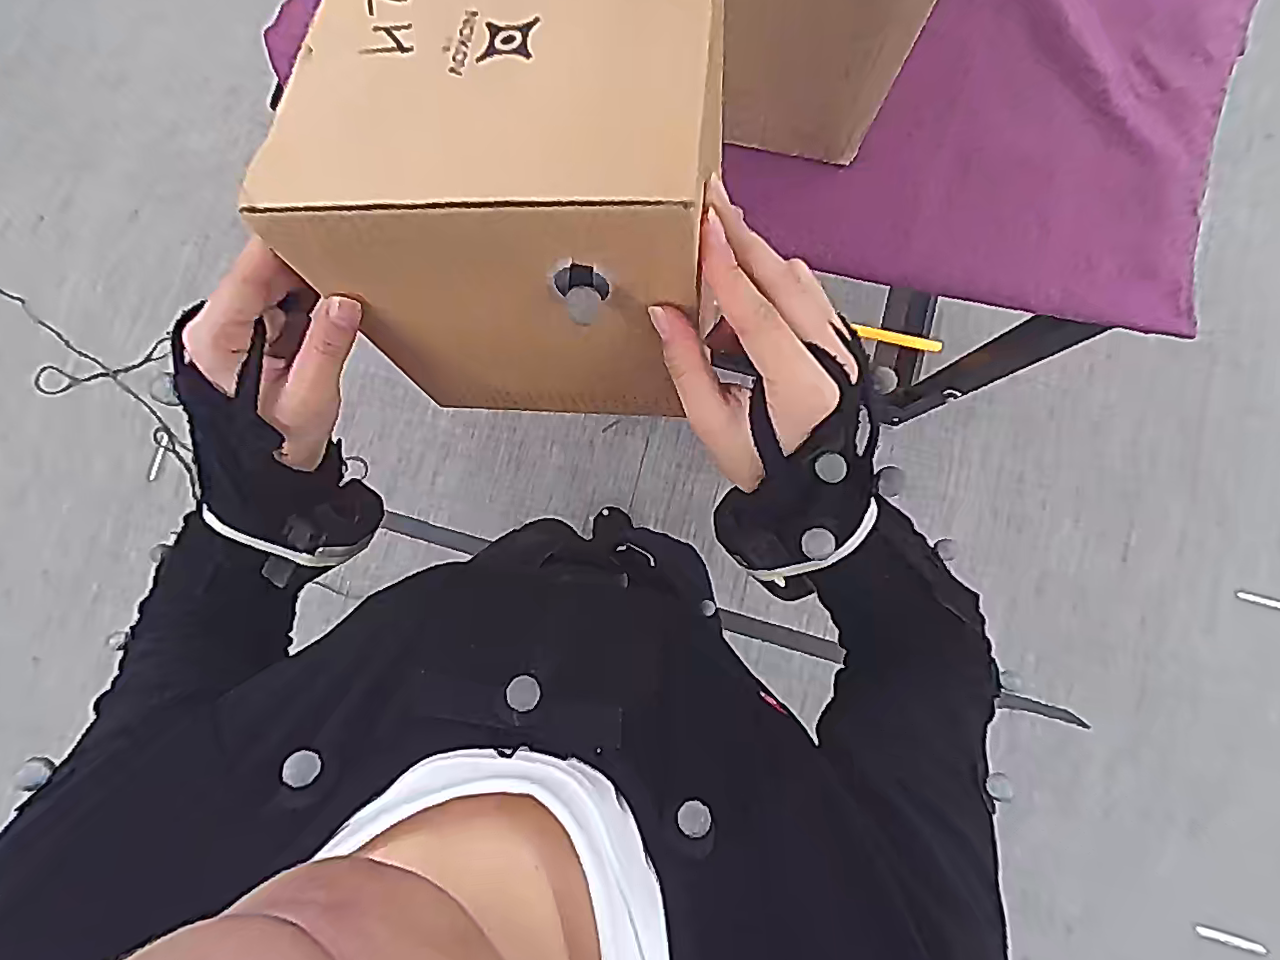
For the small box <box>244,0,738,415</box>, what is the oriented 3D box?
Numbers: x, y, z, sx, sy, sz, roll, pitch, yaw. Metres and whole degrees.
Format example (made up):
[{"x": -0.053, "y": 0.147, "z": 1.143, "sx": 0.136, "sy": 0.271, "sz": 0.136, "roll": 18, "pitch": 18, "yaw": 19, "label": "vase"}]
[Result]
[{"x": -0.043, "y": -0.144, "z": 0.286, "sx": 0.179, "sy": 0.176, "sz": 0.168, "roll": 3, "pitch": 71, "yaw": 9, "label": "small box"}]
